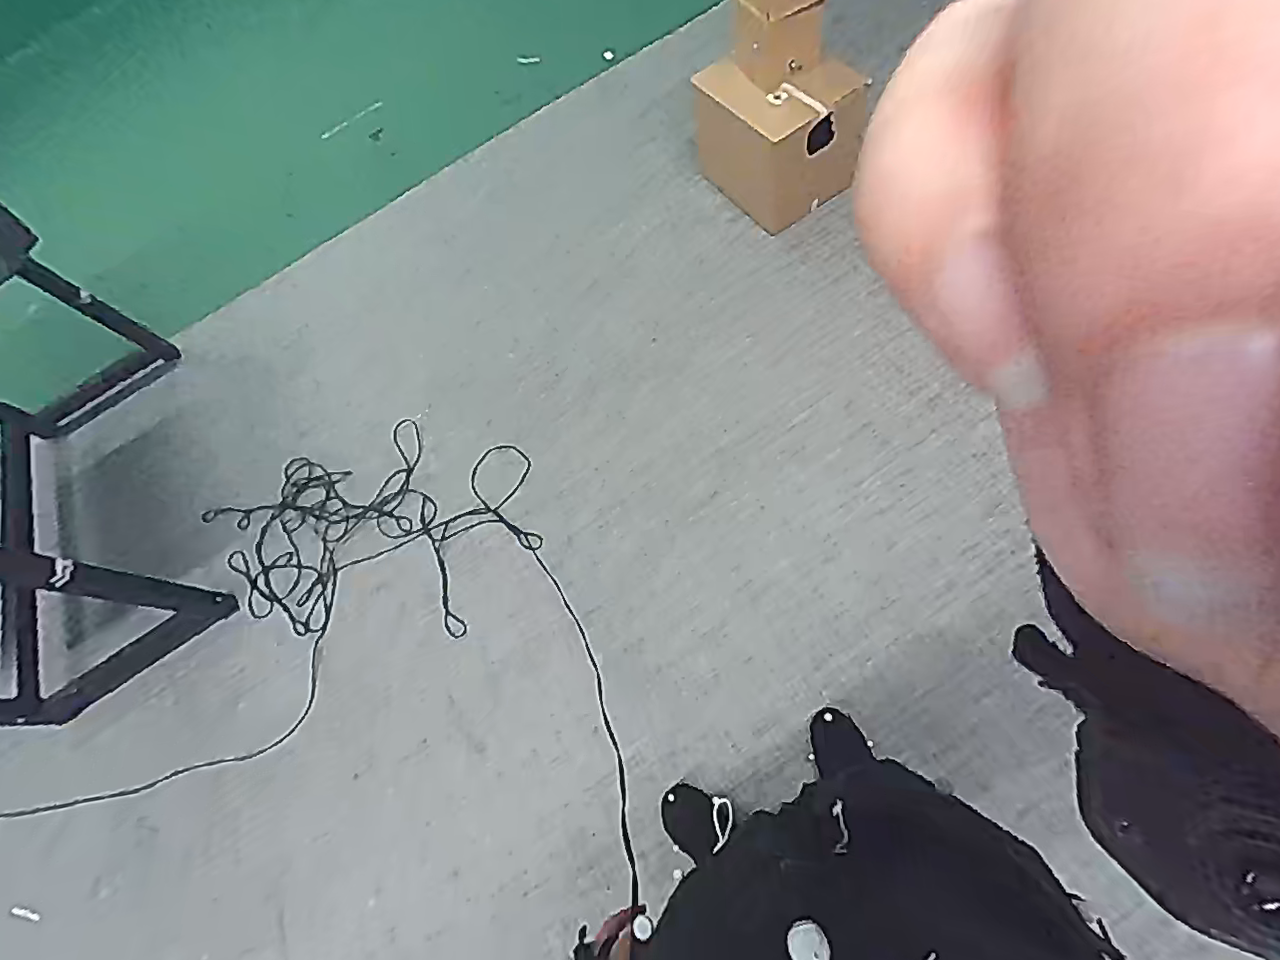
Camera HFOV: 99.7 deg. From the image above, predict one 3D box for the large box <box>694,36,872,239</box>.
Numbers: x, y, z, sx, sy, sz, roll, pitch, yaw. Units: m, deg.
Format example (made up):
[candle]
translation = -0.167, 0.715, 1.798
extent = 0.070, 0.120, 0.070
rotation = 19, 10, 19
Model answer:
[large box]
translation = 0.412, -1.028, 1.638
extent = 0.320, 0.320, 0.408
rotation = -35, 65, -2

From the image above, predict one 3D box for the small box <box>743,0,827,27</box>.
[small box]
translation = 0.345, -1.240, 1.293
extent = 0.168, 0.176, 0.179
rotation = -24, 65, 1
